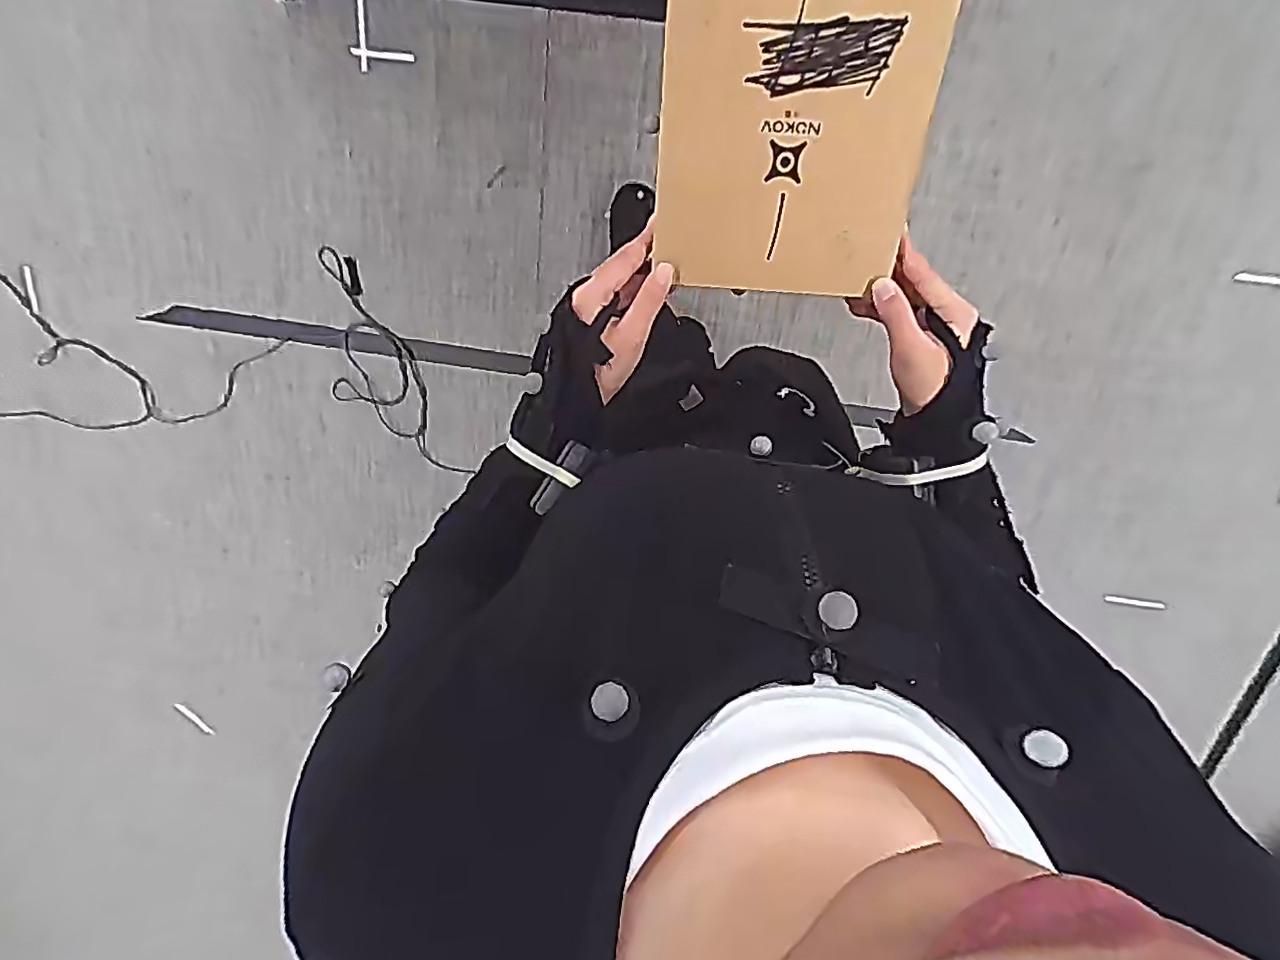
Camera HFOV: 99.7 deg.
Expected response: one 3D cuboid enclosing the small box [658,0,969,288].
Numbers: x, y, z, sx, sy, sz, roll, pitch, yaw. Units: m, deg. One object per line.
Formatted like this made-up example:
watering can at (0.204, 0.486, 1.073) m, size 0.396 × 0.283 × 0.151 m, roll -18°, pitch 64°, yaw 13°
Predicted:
small box at (0.102, -0.250, 0.403) m, size 0.168 × 0.176 × 0.179 m, roll 5°, pitch 117°, yaw 2°
